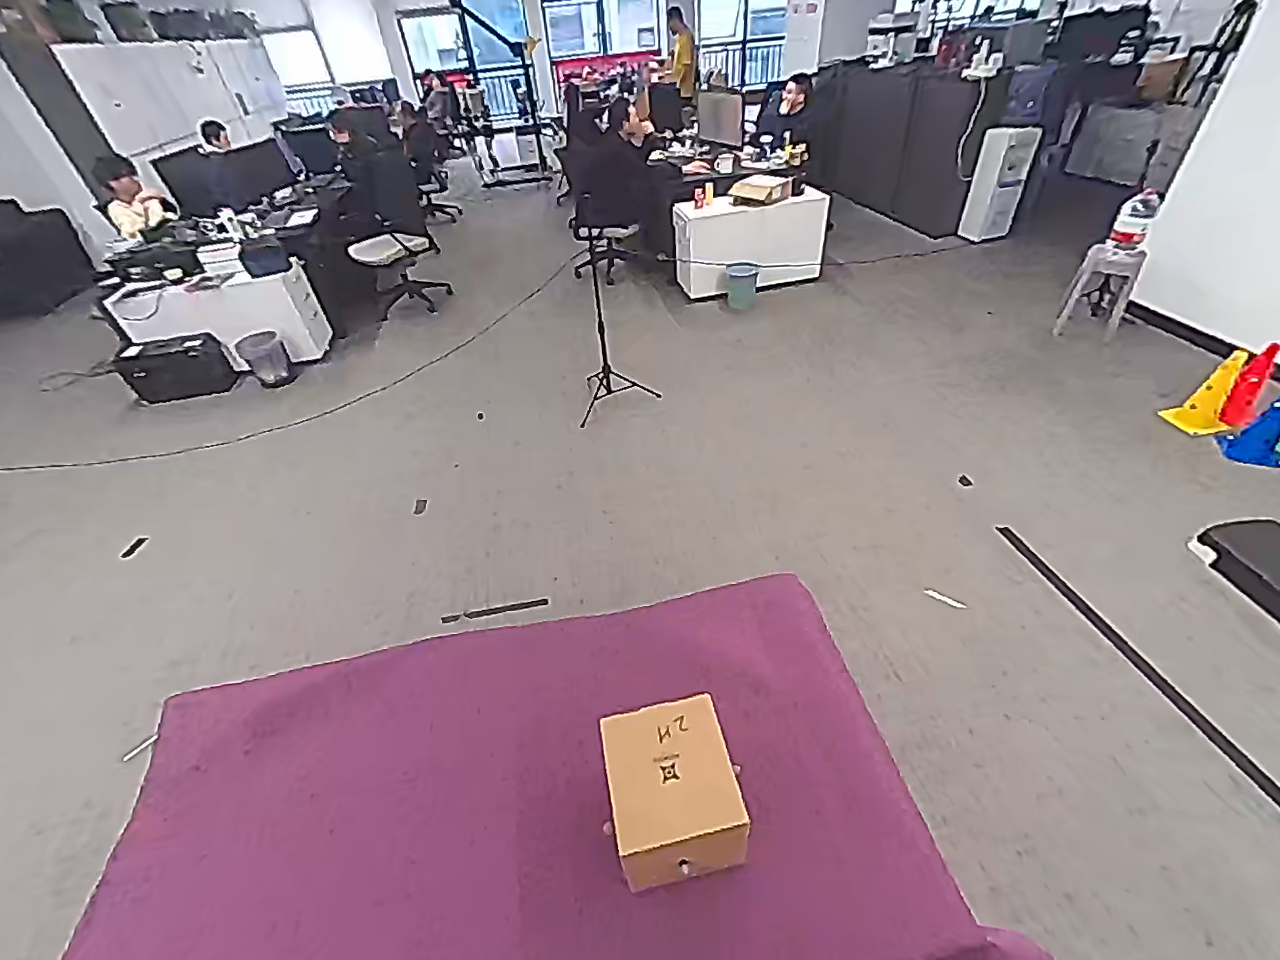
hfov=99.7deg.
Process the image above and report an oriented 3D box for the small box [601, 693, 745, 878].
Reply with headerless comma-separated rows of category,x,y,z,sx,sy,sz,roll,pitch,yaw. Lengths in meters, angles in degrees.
small box,0.045,0.443,0.779,0.168,0.176,0.179,-11,41,-6
